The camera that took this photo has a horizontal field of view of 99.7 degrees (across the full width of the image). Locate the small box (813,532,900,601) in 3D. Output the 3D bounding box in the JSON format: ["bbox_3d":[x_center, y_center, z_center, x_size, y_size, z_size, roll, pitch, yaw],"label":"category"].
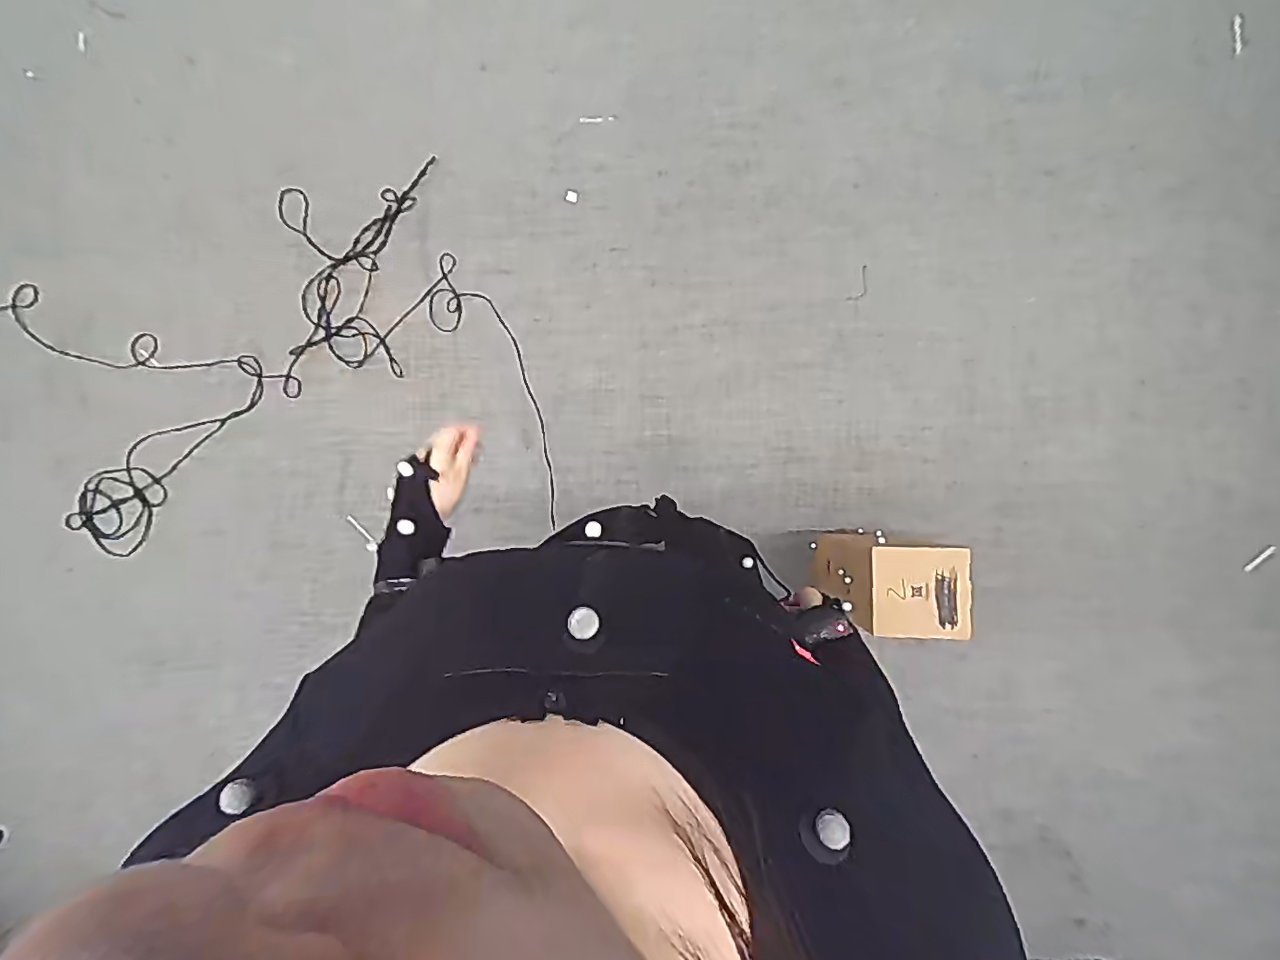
[{"bbox_3d":[0.551,0.220,1.391,0.179,0.176,0.168,0,87,3],"label":"small box"}]

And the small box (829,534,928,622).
[{"bbox_3d":[0.533,0.215,1.227,0.168,0.176,0.179,1,88,5],"label":"small box"}]
